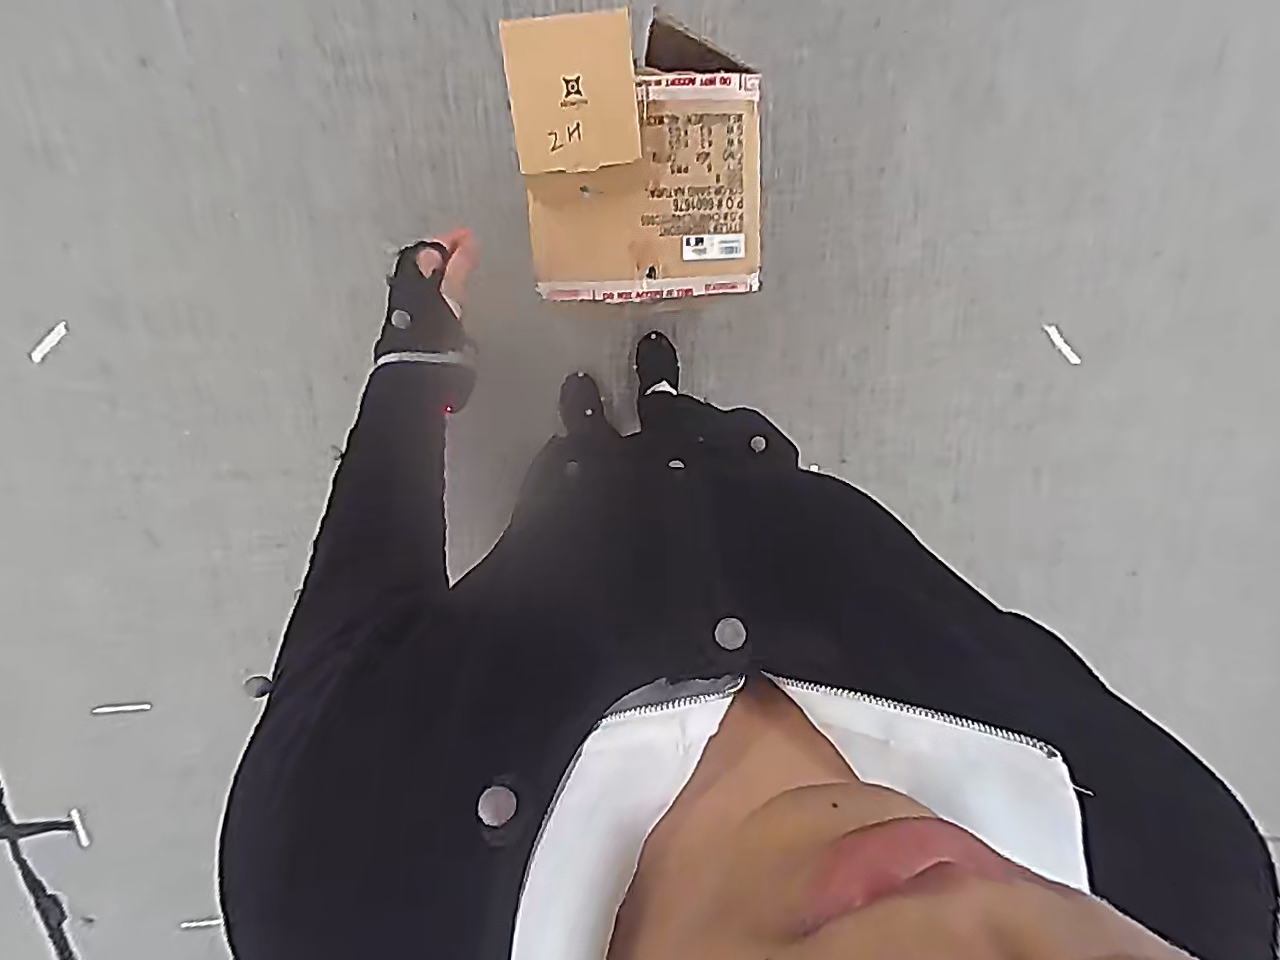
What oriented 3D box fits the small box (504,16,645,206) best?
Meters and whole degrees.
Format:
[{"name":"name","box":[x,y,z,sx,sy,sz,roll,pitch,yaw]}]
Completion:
[{"name":"small box","box":[-0.087,-0.513,0.776,0.168,0.176,0.179,-7,107,0]}]
